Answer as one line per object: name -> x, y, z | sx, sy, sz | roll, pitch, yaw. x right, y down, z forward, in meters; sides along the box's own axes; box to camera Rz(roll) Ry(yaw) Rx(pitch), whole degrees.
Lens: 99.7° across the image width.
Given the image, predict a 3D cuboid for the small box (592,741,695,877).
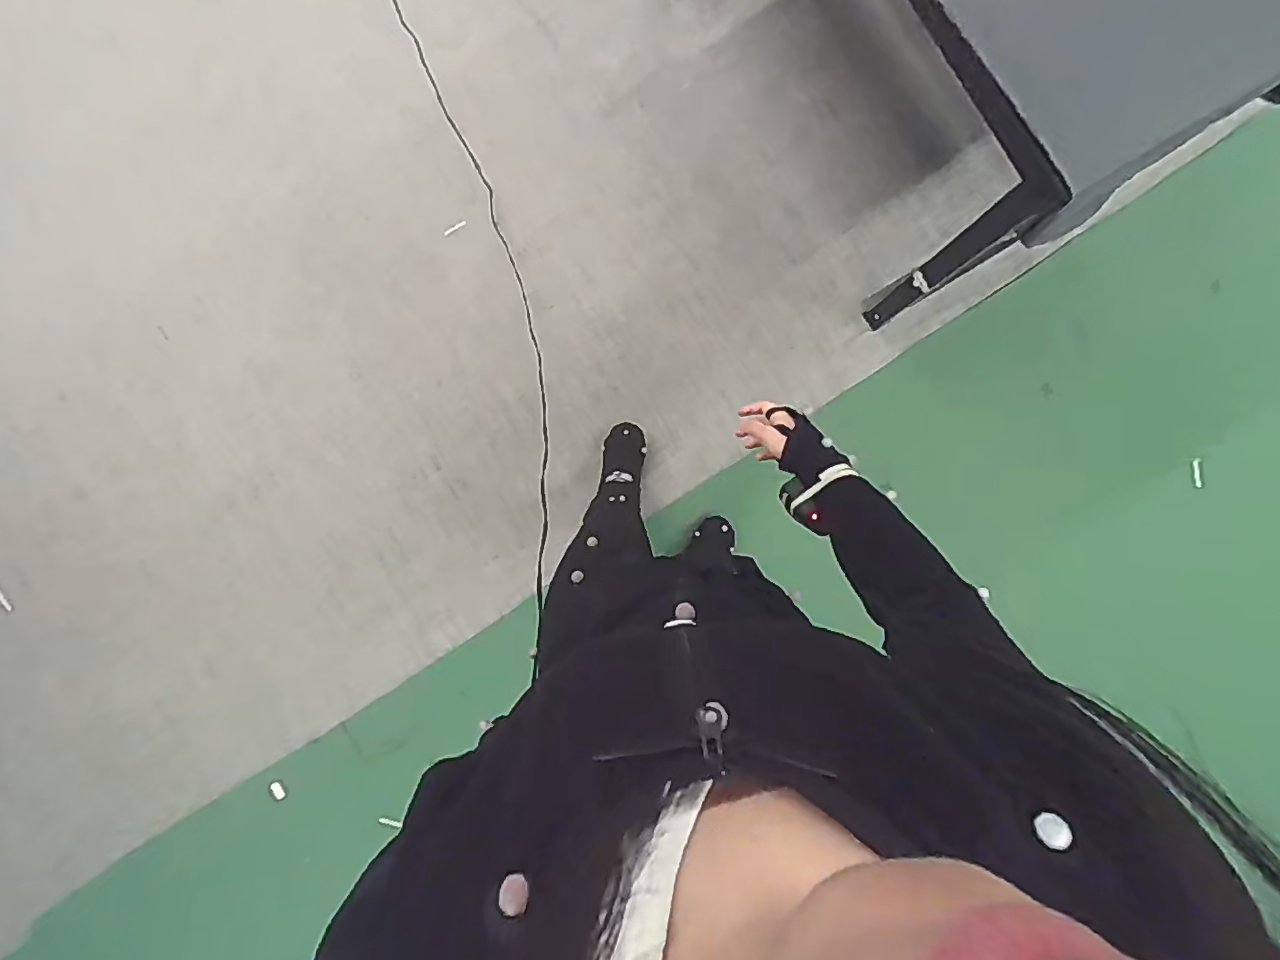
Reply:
small box -> 0.013, 0.760, 1.269 | 0.168, 0.176, 0.179 | -37, 89, 3
